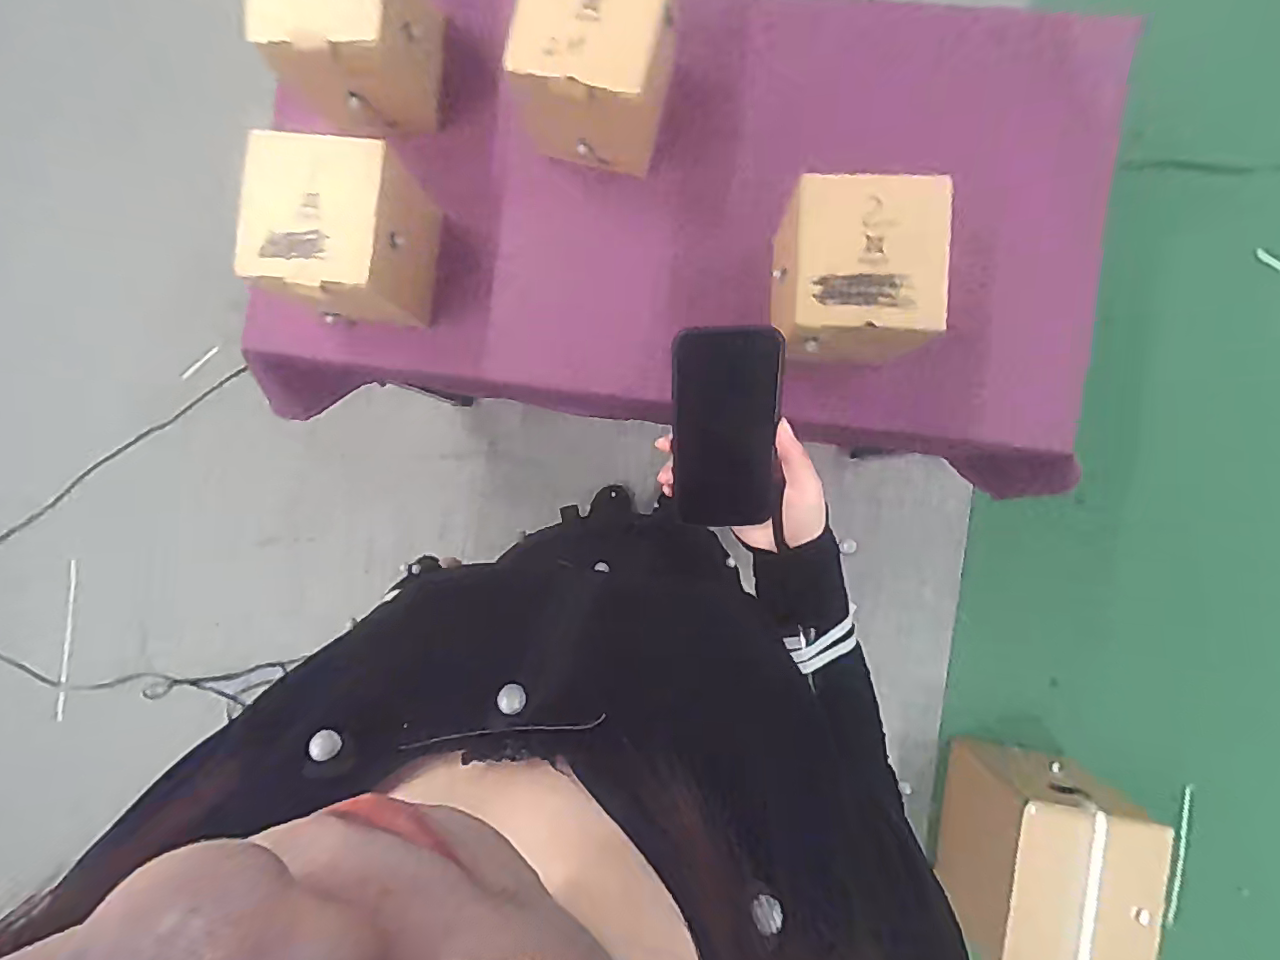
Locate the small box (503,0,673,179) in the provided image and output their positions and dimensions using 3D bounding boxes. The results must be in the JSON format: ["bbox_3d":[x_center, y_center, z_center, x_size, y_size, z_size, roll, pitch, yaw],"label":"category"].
[{"bbox_3d":[-0.056,-0.535,0.701,0.168,0.176,0.179,14,91,3],"label":"small box"}]

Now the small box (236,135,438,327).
[{"bbox_3d":[-0.386,-0.315,0.718,0.168,0.176,0.179,6,89,2],"label":"small box"}]

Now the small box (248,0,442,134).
[{"bbox_3d":[-0.377,-0.594,0.718,0.168,0.176,0.179,3,91,2],"label":"small box"}]
